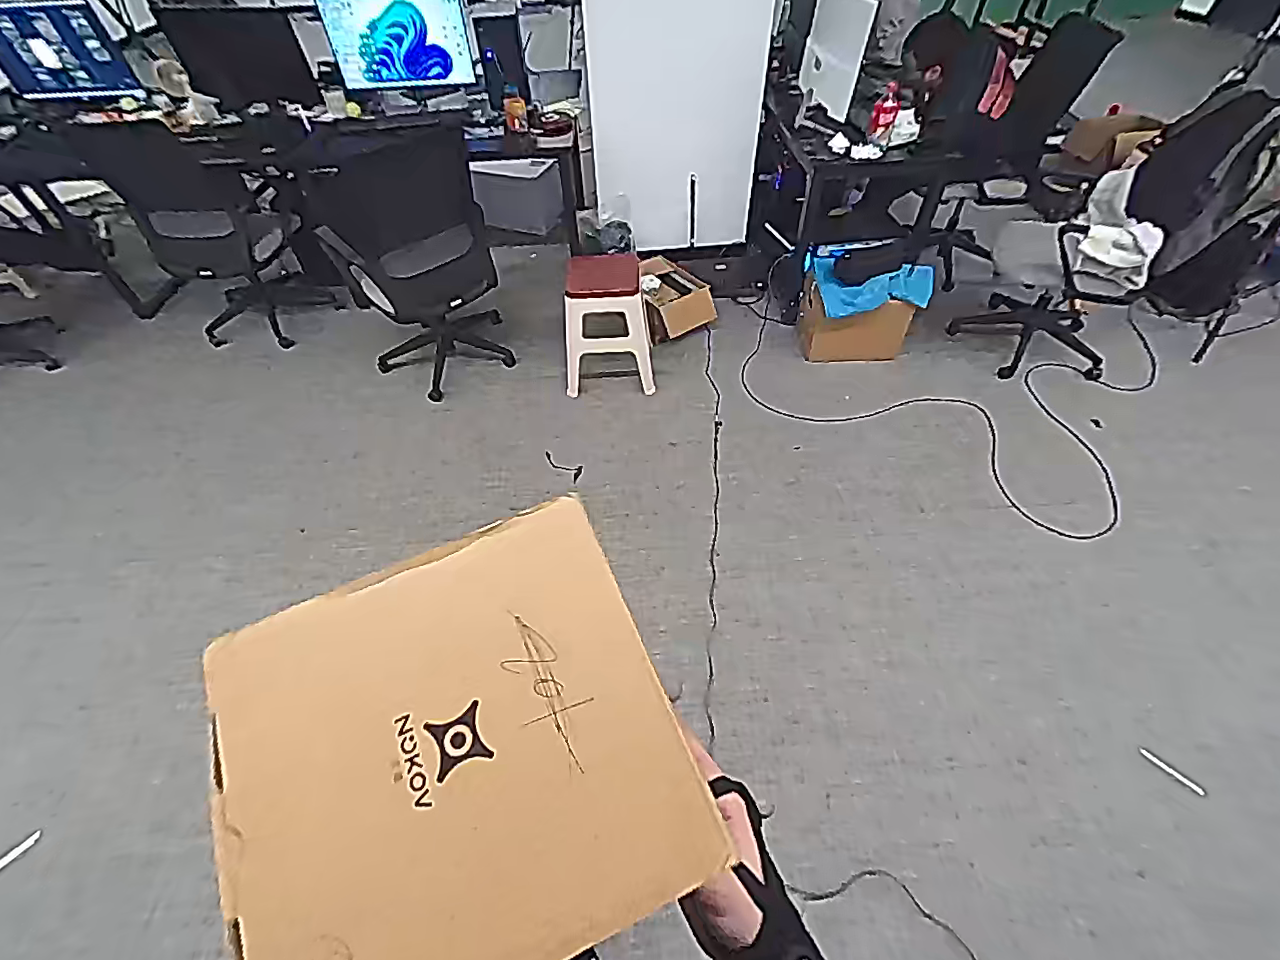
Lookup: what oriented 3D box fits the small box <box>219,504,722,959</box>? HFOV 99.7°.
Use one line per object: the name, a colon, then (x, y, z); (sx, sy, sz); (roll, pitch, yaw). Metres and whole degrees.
small box: (-0.076, 0.145, 0.301); (0.179, 0.176, 0.168); (-25, 68, -11)
